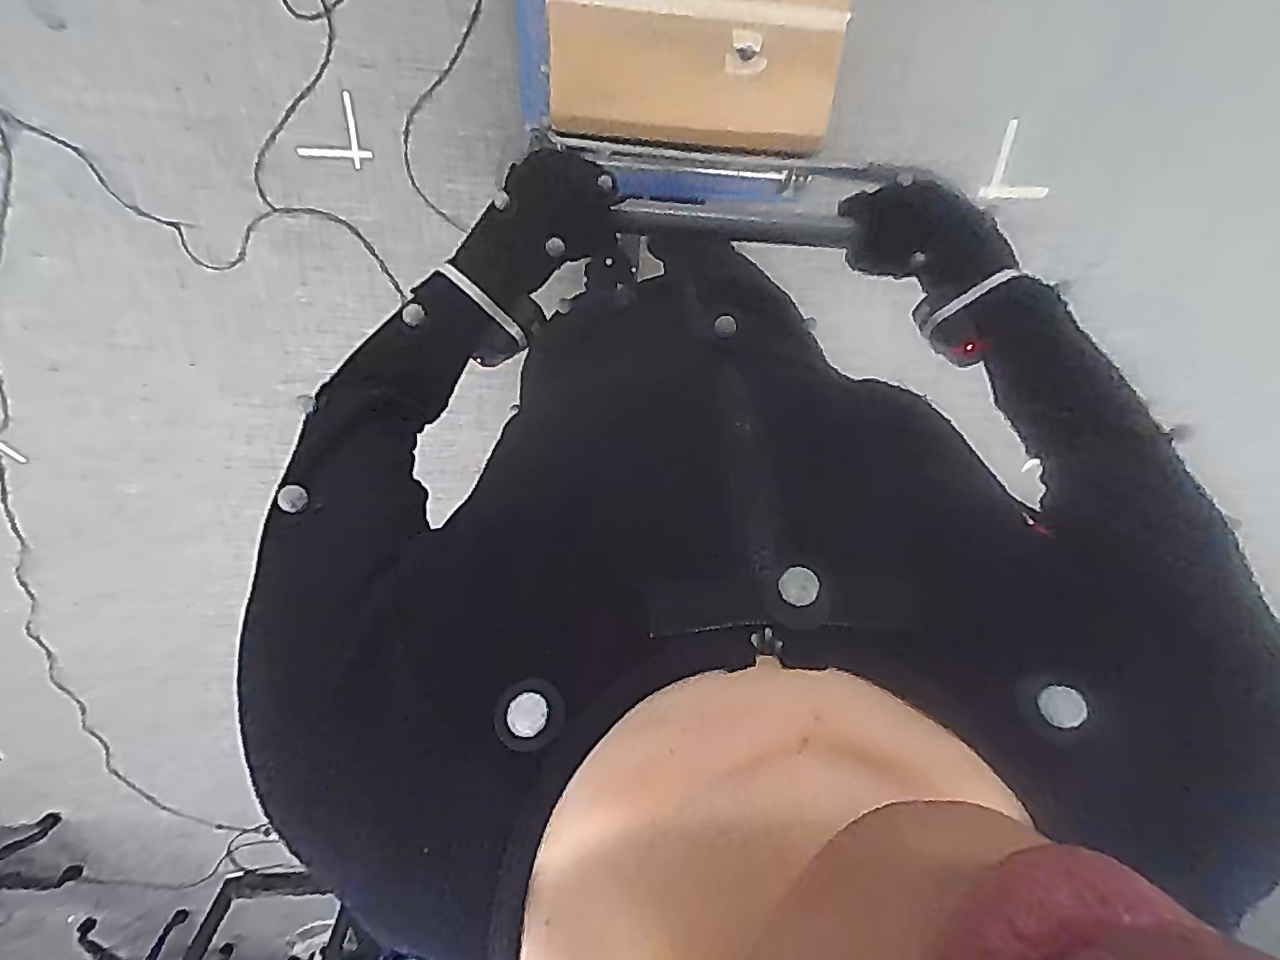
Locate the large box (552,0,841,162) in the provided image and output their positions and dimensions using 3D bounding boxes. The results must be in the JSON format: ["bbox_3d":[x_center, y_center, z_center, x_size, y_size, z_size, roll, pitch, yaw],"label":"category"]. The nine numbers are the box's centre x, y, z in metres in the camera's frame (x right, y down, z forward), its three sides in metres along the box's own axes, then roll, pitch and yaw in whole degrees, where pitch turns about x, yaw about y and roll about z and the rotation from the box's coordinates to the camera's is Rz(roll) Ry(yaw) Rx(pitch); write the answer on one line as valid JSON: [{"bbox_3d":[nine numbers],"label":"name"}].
[{"bbox_3d":[0.064,-0.711,0.871,0.408,0.320,0.320,1,118,-7],"label":"large box"}]
